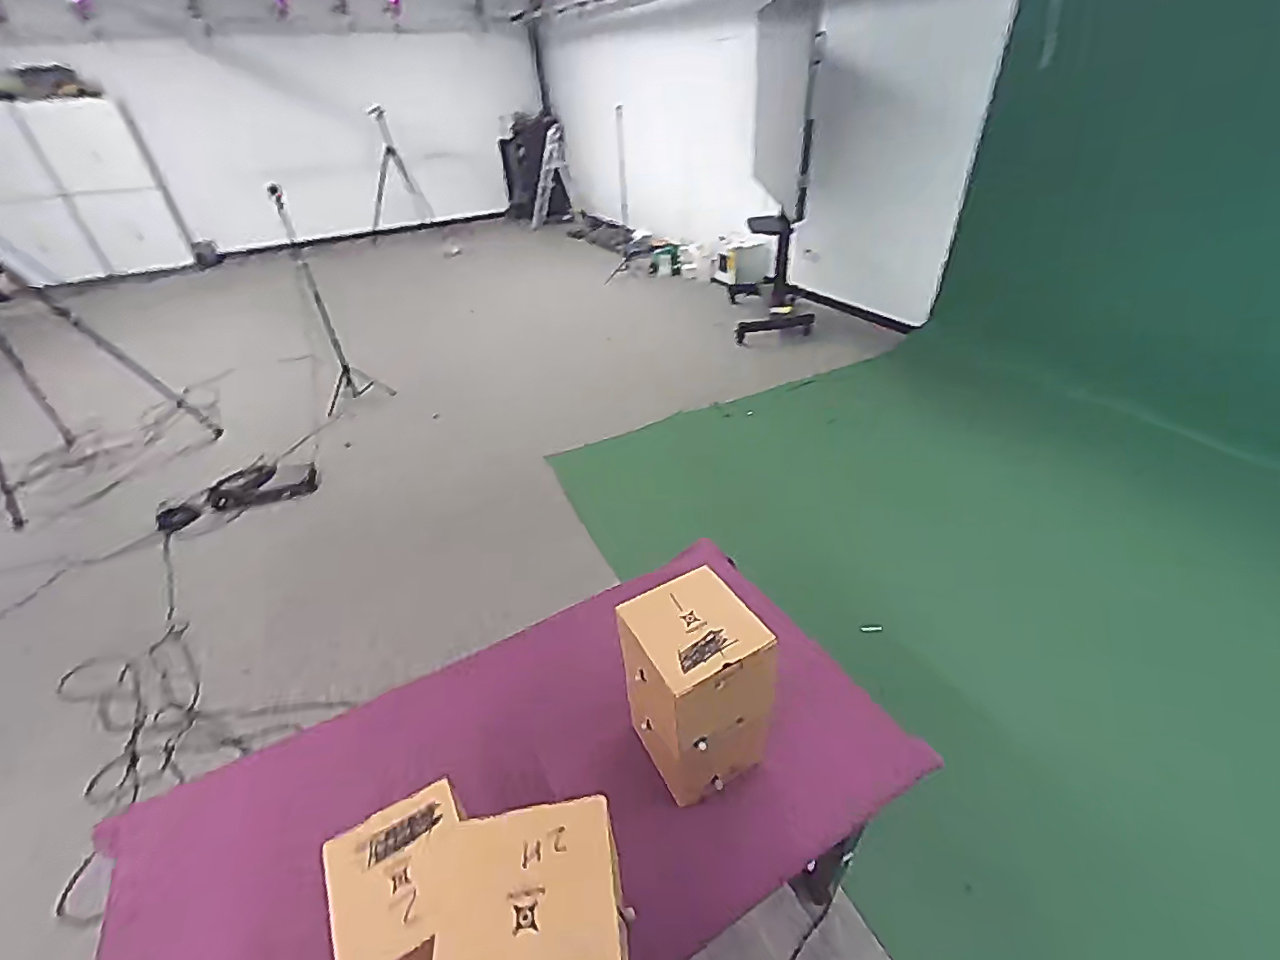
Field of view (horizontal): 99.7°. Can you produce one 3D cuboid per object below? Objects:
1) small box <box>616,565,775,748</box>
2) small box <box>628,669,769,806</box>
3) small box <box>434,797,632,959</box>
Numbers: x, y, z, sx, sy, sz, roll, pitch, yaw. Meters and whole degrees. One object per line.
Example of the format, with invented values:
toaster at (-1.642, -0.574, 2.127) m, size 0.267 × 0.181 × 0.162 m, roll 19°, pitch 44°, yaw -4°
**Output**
small box at (0.083, 0.266, 0.809) m, size 0.168 × 0.176 × 0.179 m, roll -21°, pitch 37°, yaw -20°
small box at (0.093, 0.397, 0.907) m, size 0.168 × 0.176 × 0.179 m, roll -20°, pitch 39°, yaw -19°
small box at (-0.096, 0.458, 0.541) m, size 0.168 × 0.176 × 0.179 m, roll -7°, pitch 35°, yaw -4°
